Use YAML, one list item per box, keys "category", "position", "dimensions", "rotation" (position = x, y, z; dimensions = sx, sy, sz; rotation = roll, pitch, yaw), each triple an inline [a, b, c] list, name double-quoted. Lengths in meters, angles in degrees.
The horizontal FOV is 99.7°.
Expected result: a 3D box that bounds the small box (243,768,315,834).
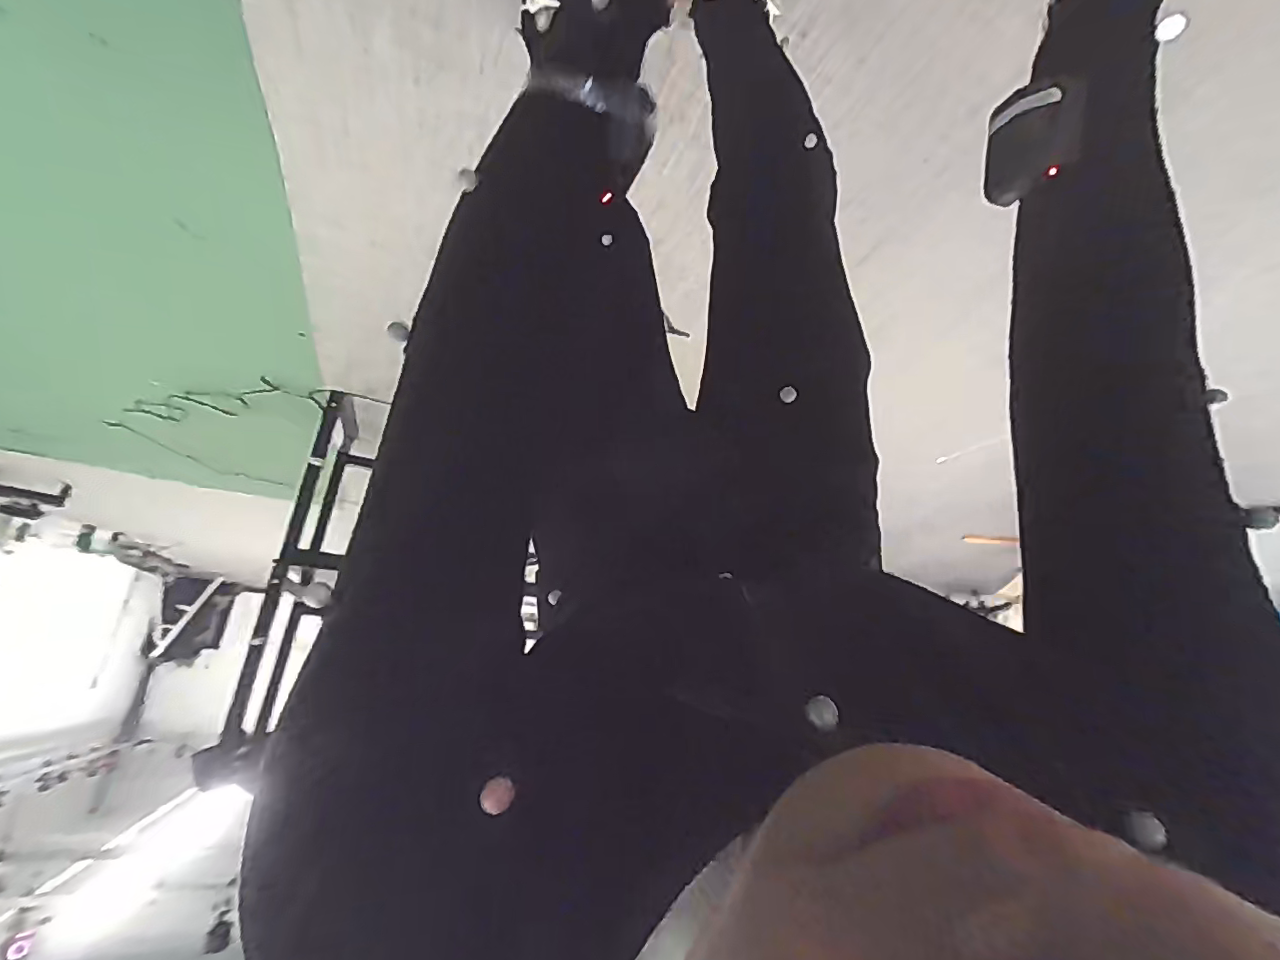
- category: "small box"
  position: [-1.267, 1.129, 1.913]
  dimensions: [0.179, 0.176, 0.168]
  rotation: [14, 159, -23]
